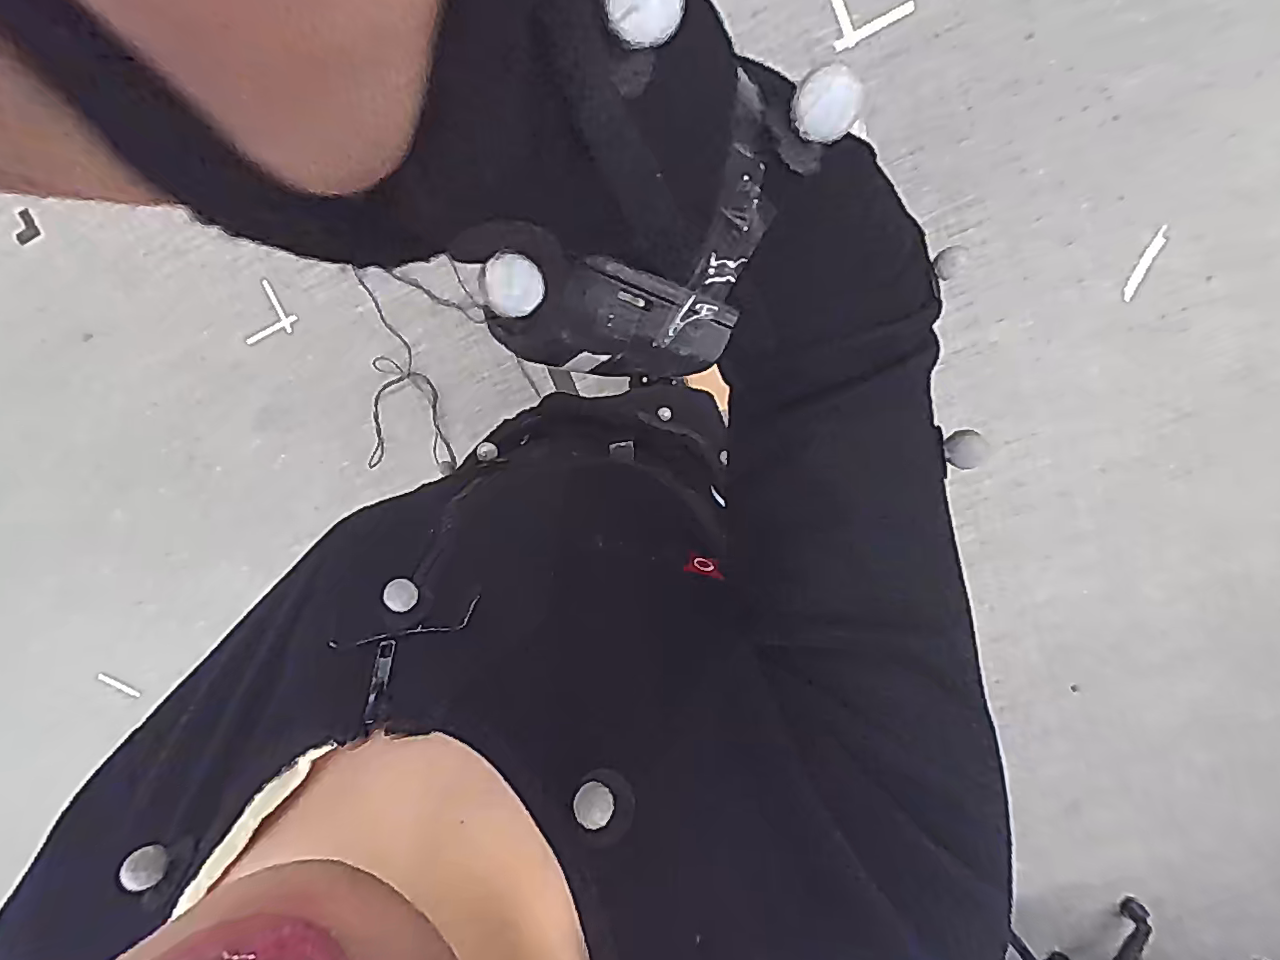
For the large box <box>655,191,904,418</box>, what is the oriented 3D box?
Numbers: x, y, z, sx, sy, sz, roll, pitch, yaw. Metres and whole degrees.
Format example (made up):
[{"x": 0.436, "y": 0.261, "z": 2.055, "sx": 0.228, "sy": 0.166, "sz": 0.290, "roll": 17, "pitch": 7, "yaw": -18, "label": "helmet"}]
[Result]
[{"x": 0.265, "y": -0.340, "z": 1.142, "sx": 0.408, "sy": 0.320, "sz": 0.320, "roll": -15, "pitch": 100, "yaw": 5, "label": "large box"}]
